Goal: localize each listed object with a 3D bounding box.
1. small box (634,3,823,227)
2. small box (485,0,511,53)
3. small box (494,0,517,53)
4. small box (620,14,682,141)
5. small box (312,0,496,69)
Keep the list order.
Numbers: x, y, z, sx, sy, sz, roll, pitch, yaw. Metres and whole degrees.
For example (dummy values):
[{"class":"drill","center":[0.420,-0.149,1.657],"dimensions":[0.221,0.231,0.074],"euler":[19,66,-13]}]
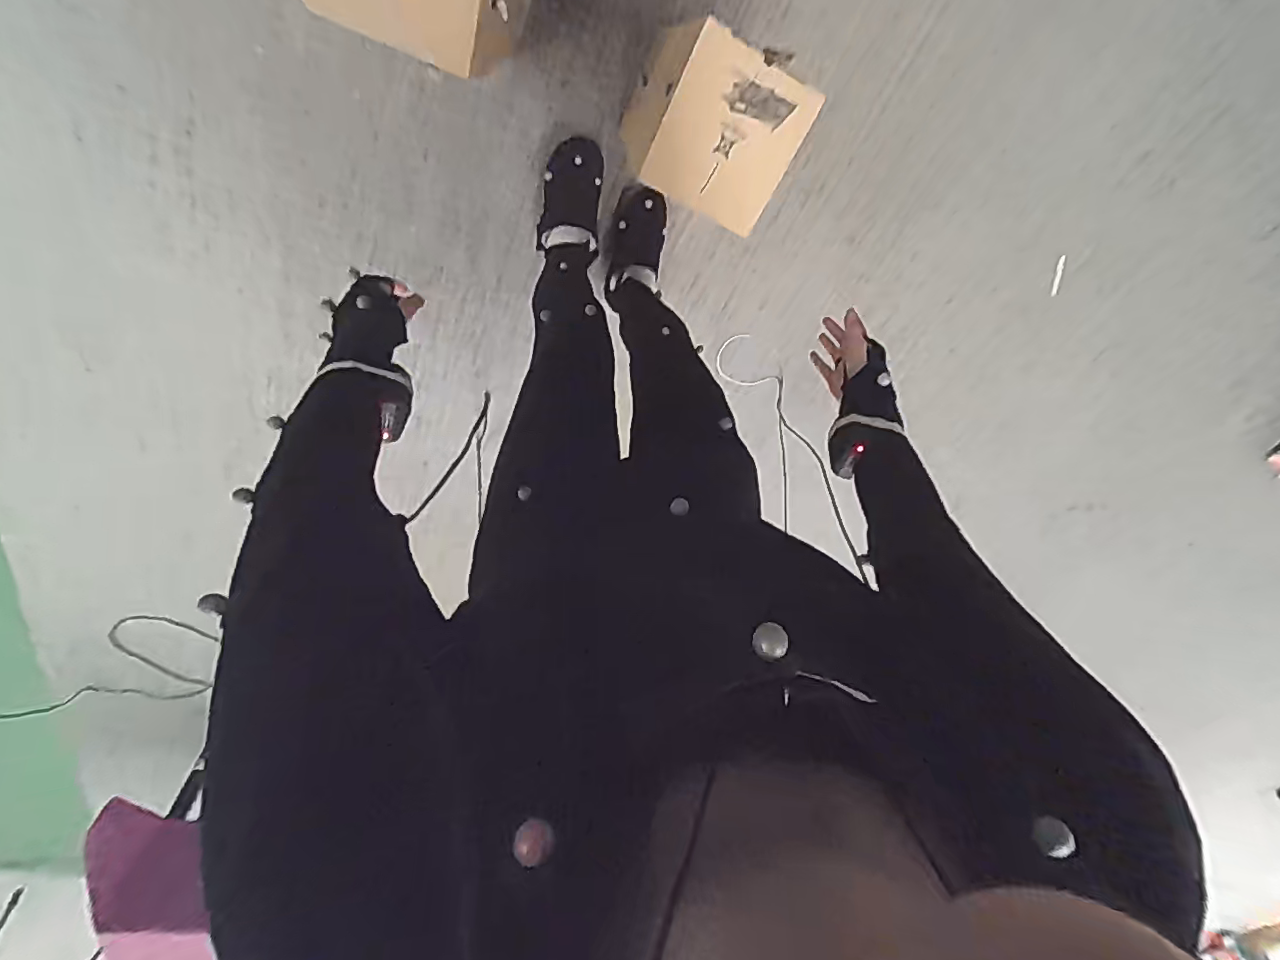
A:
[{"class":"small box","center":[0.099,-0.471,0.707],"dimensions":[0.168,0.176,0.179],"euler":[19,124,-19]},{"class":"small box","center":[-0.264,-0.687,0.709],"dimensions":[0.179,0.176,0.168],"euler":[13,126,-15]},{"class":"small box","center":[-0.280,-0.795,0.832],"dimensions":[0.179,0.176,0.168],"euler":[14,126,-15]},{"class":"small box","center":[0.073,-0.679,0.962],"dimensions":[0.168,0.176,0.179],"euler":[19,124,-20]},{"class":"small box","center":[-0.246,-0.580,0.584],"dimensions":[0.179,0.176,0.168],"euler":[14,125,-16]}]
